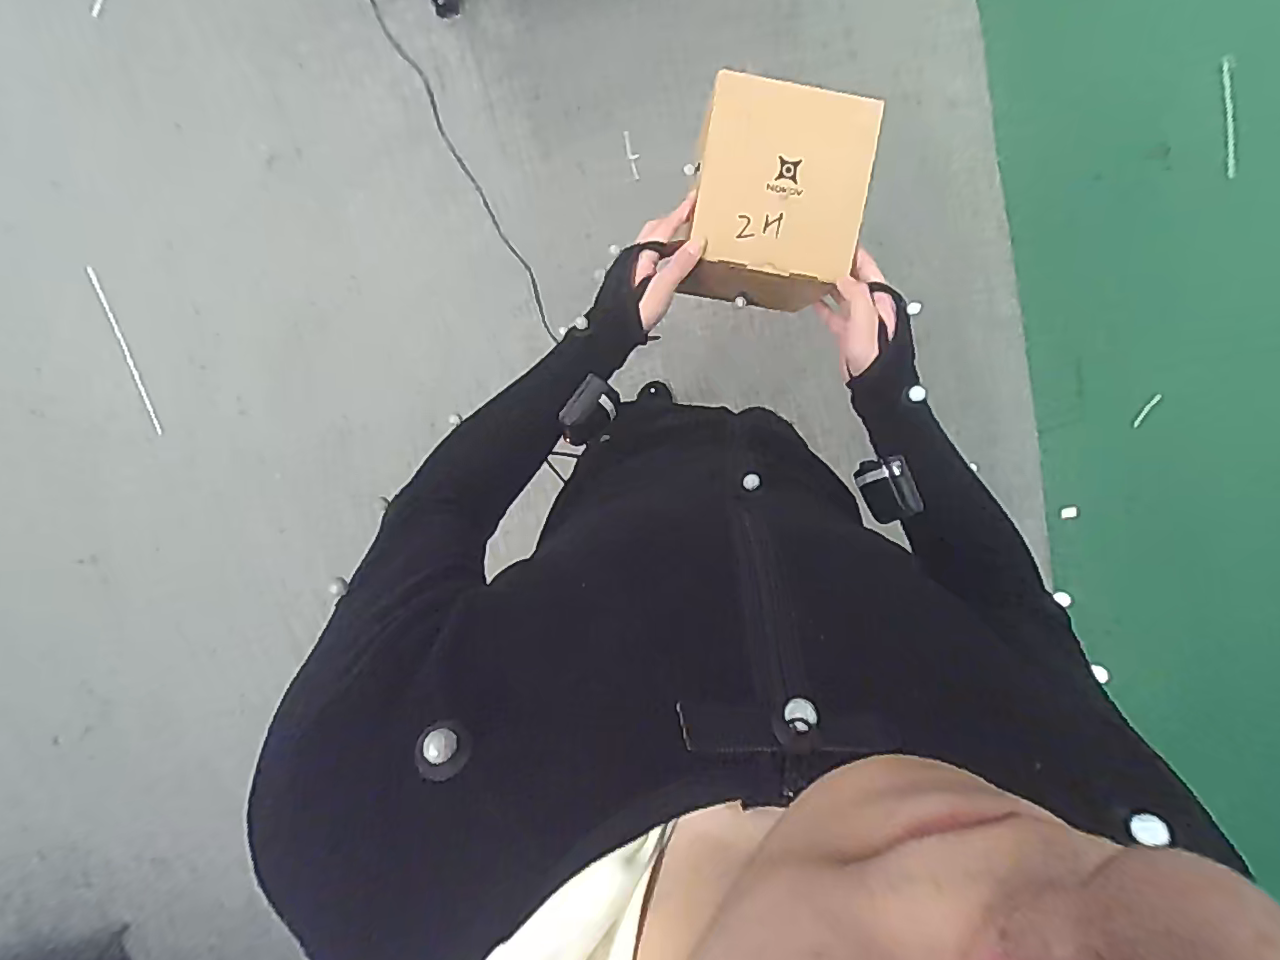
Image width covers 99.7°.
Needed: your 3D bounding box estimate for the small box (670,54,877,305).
[{"bbox_3d":[0.130,-0.309,0.596,0.168,0.176,0.179,9,97,-2],"label":"small box"}]
